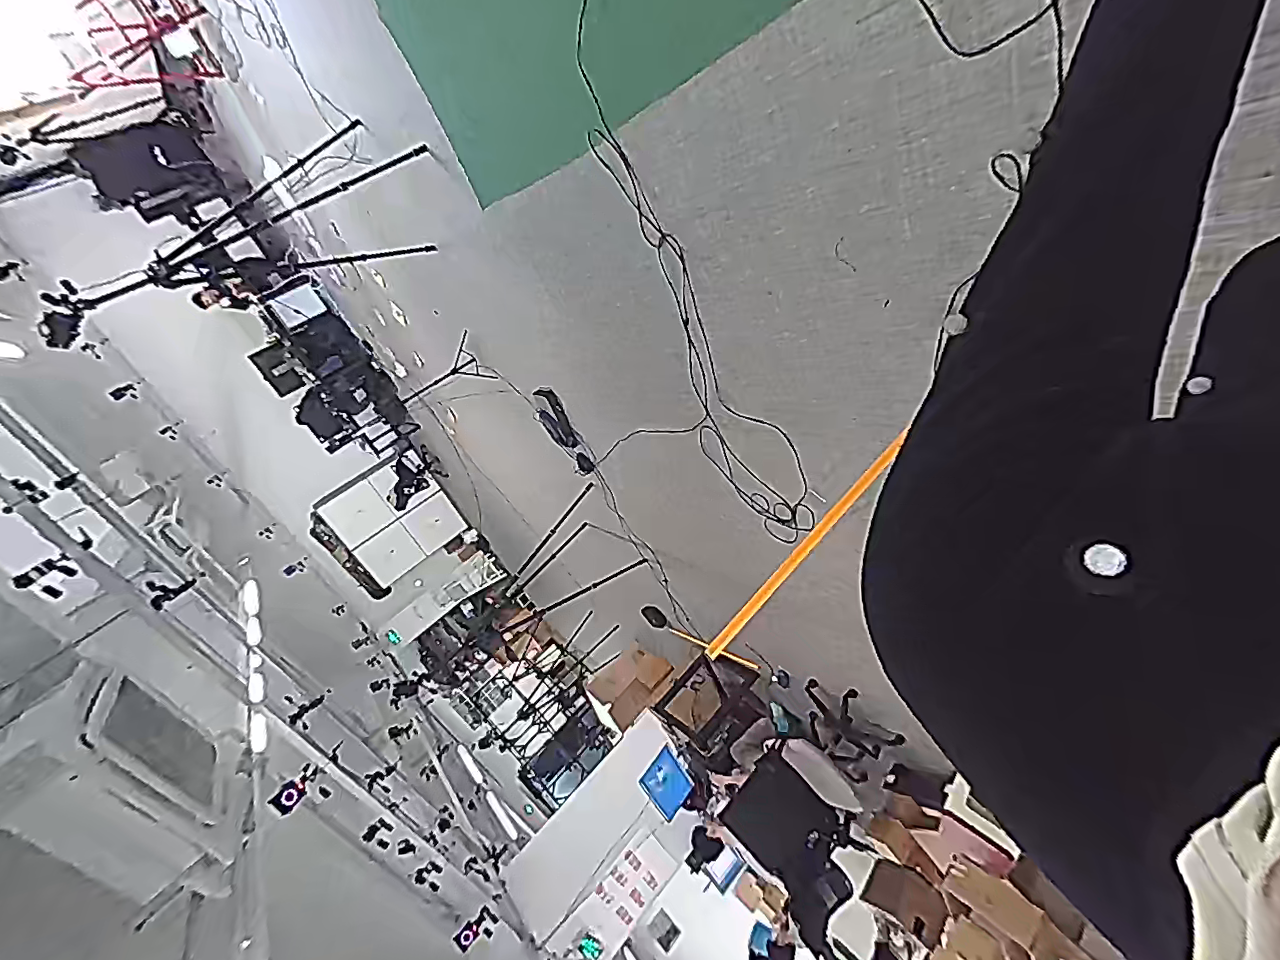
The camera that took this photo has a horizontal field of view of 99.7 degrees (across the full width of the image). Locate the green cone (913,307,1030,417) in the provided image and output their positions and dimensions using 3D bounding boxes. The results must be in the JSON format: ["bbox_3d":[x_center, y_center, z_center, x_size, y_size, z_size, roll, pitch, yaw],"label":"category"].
[{"bbox_3d":[0.850,-0.286,1.451,0.202,0.368,0.200,11,135,57],"label":"green cone"}]
